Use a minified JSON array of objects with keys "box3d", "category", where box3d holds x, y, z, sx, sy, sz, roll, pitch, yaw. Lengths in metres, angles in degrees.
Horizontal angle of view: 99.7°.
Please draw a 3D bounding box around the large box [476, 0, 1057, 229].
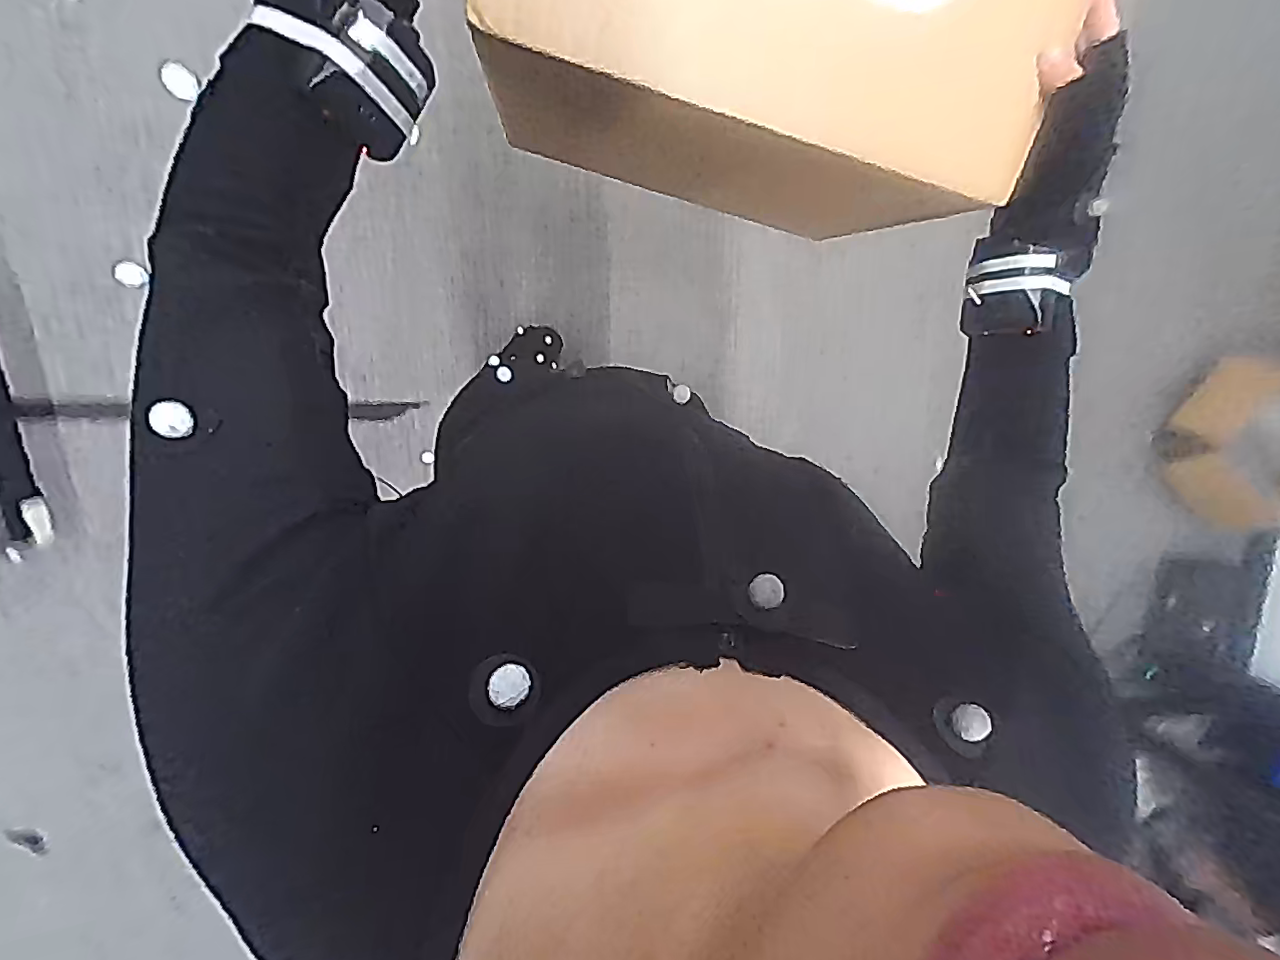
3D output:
[{"box3d":[0.090,-0.448,0.482,0.408,0.320,0.320,9,108,-13],"category":"large box"}]
